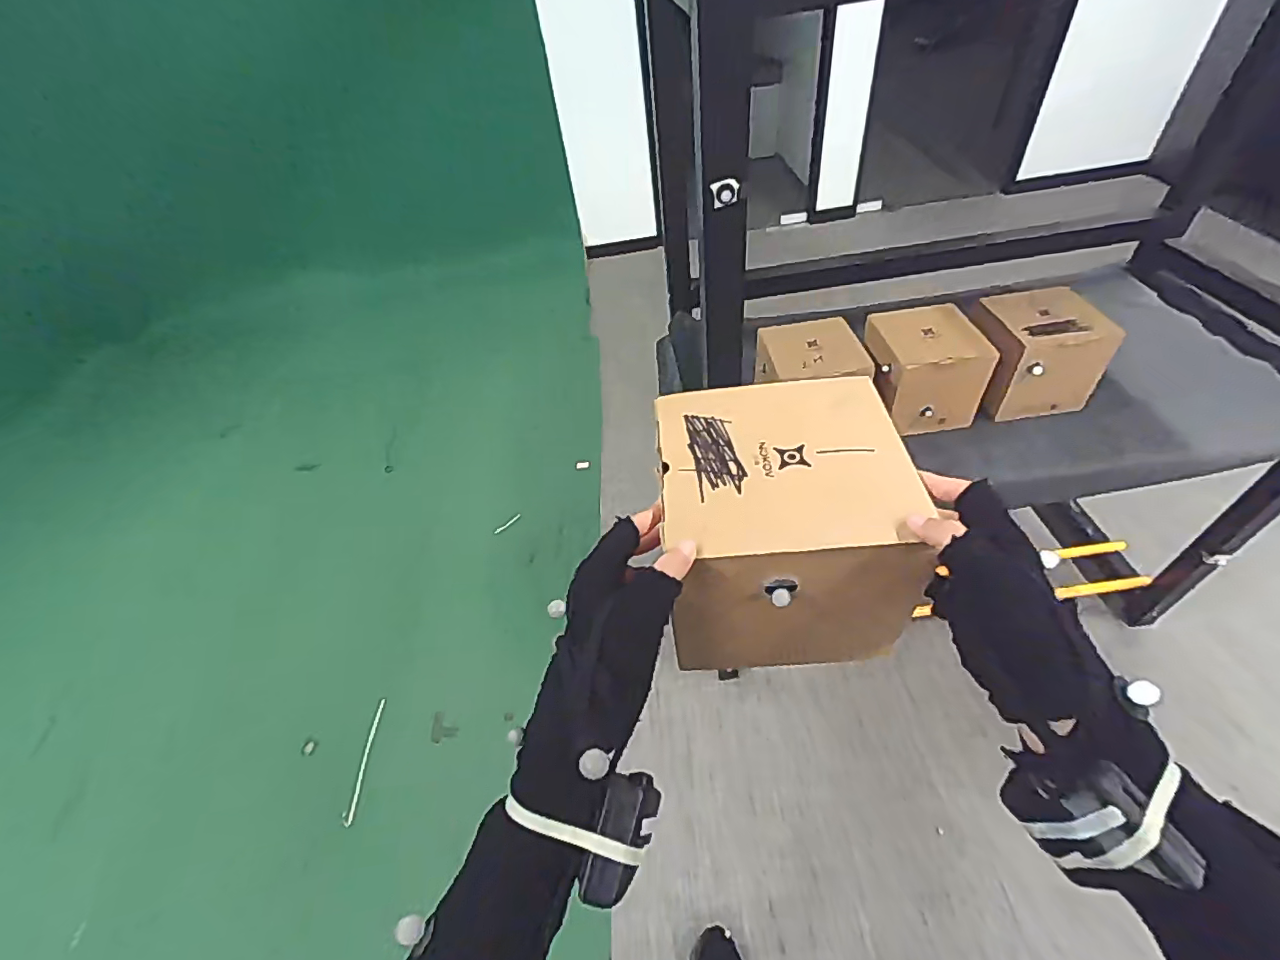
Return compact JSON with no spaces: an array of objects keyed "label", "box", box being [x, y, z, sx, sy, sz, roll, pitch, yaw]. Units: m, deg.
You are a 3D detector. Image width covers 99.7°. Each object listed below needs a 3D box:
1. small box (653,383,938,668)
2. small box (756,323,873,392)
[{"label":"small box","box":[0.107,0.042,0.447,0.179,0.176,0.168,-4,47,4]},{"label":"small box","box":[0.324,-0.178,1.046,0.168,0.176,0.179,-8,46,2]}]
